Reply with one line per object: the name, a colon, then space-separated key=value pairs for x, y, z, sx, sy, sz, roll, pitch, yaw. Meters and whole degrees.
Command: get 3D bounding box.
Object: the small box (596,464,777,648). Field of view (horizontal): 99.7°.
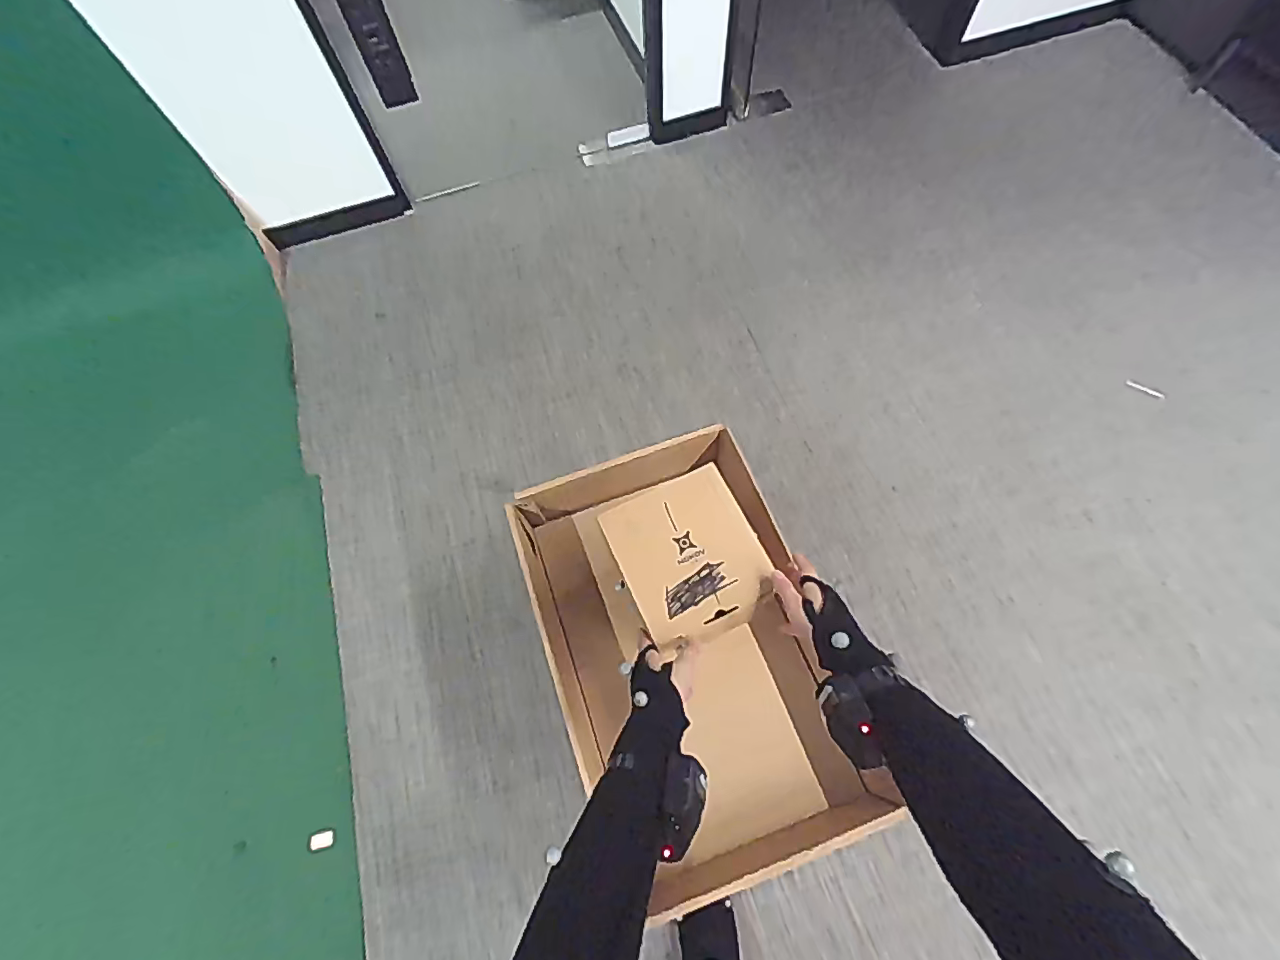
small box: x=0.056 y=0.111 z=0.718 sx=0.168 sy=0.176 sz=0.179 roll=-24 pitch=70 yaw=-7
